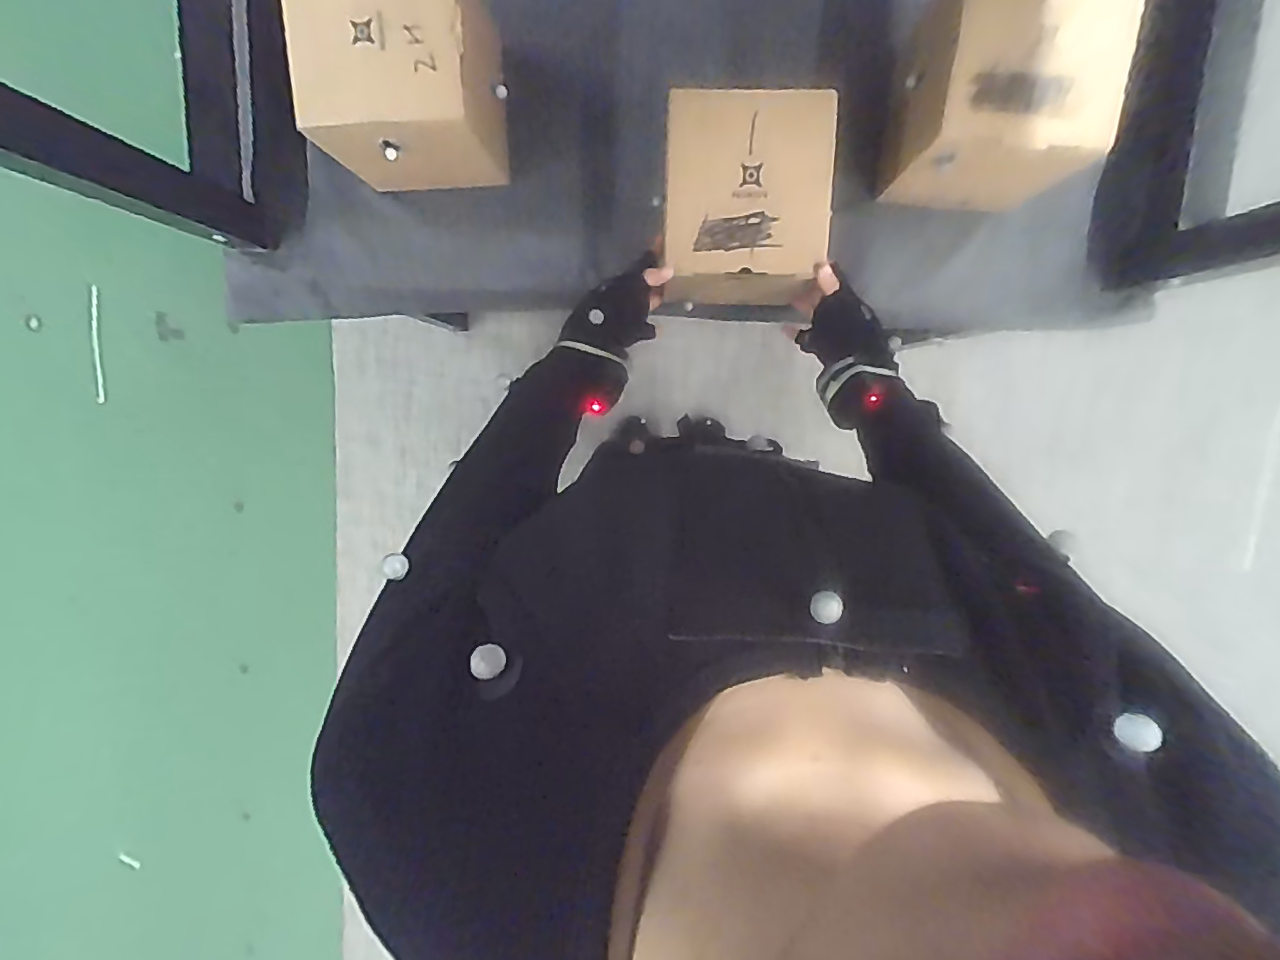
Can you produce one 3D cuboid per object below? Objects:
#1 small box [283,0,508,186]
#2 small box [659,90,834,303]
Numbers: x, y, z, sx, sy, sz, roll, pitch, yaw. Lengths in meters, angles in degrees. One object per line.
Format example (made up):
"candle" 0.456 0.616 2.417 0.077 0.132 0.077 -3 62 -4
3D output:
"small box" -0.260 -0.450 0.611 0.179 0.176 0.168 -1 99 1
"small box" 0.108 -0.306 0.620 0.168 0.176 0.179 2 98 1
